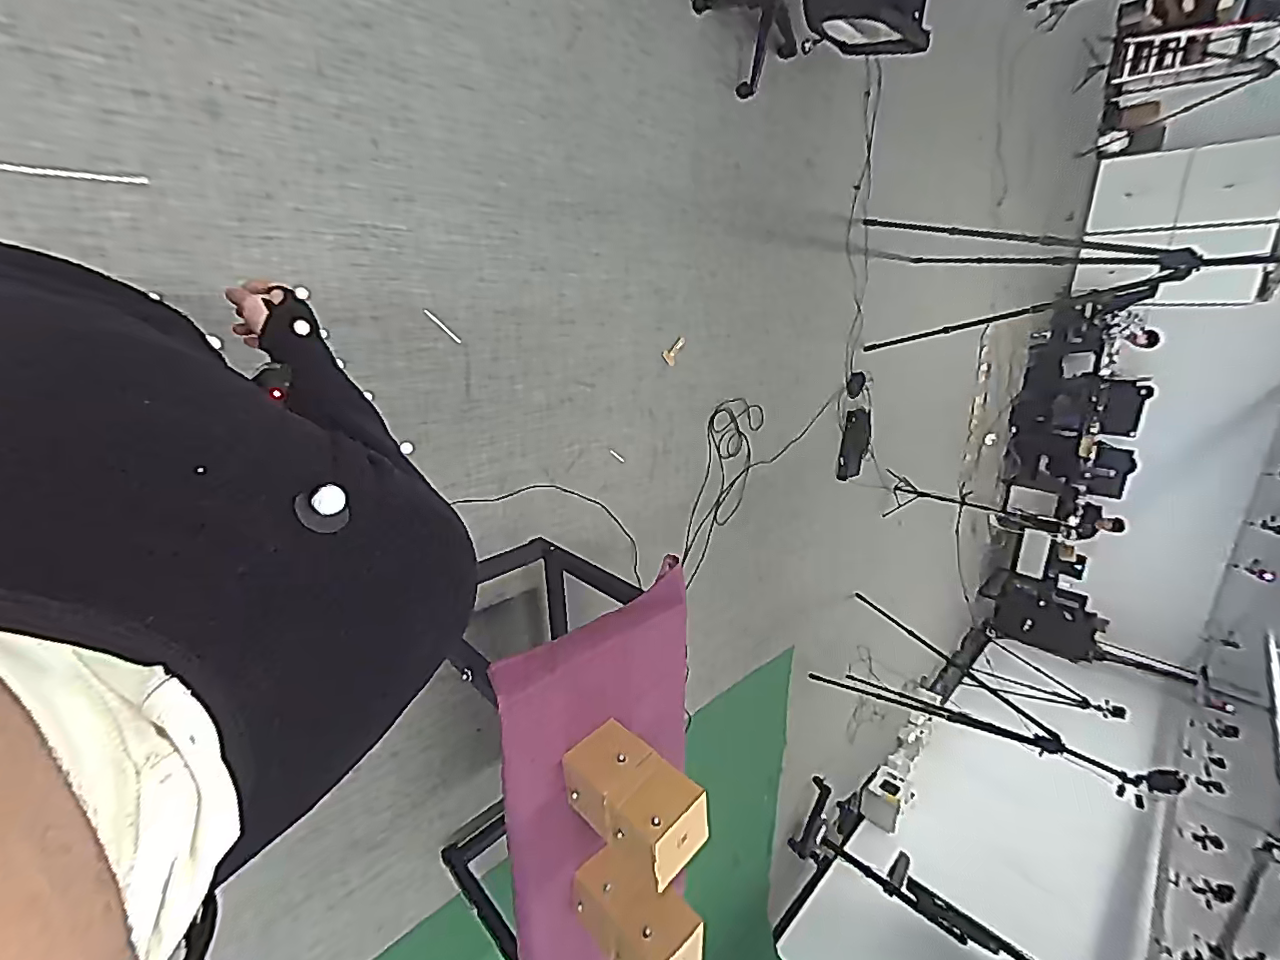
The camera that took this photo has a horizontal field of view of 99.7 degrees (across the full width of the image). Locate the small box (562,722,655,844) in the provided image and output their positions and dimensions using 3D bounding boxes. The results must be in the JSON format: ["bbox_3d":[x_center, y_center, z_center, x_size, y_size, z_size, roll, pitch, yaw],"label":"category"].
[{"bbox_3d":[-0.078,0.763,1.384,0.179,0.176,0.168,-22,117,-39],"label":"small box"}]

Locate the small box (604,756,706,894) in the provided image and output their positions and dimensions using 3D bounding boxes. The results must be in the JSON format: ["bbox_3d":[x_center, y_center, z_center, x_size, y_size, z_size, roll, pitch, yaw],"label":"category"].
[{"bbox_3d":[0.037,0.800,1.275,0.179,0.176,0.168,-24,119,-37],"label":"small box"}]

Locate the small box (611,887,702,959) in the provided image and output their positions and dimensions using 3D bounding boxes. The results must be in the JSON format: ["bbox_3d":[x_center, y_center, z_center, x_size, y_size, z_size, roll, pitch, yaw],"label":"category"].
[{"bbox_3d":[0.039,1.207,1.402,0.179,0.176,0.168,-14,112,-41],"label":"small box"}]
